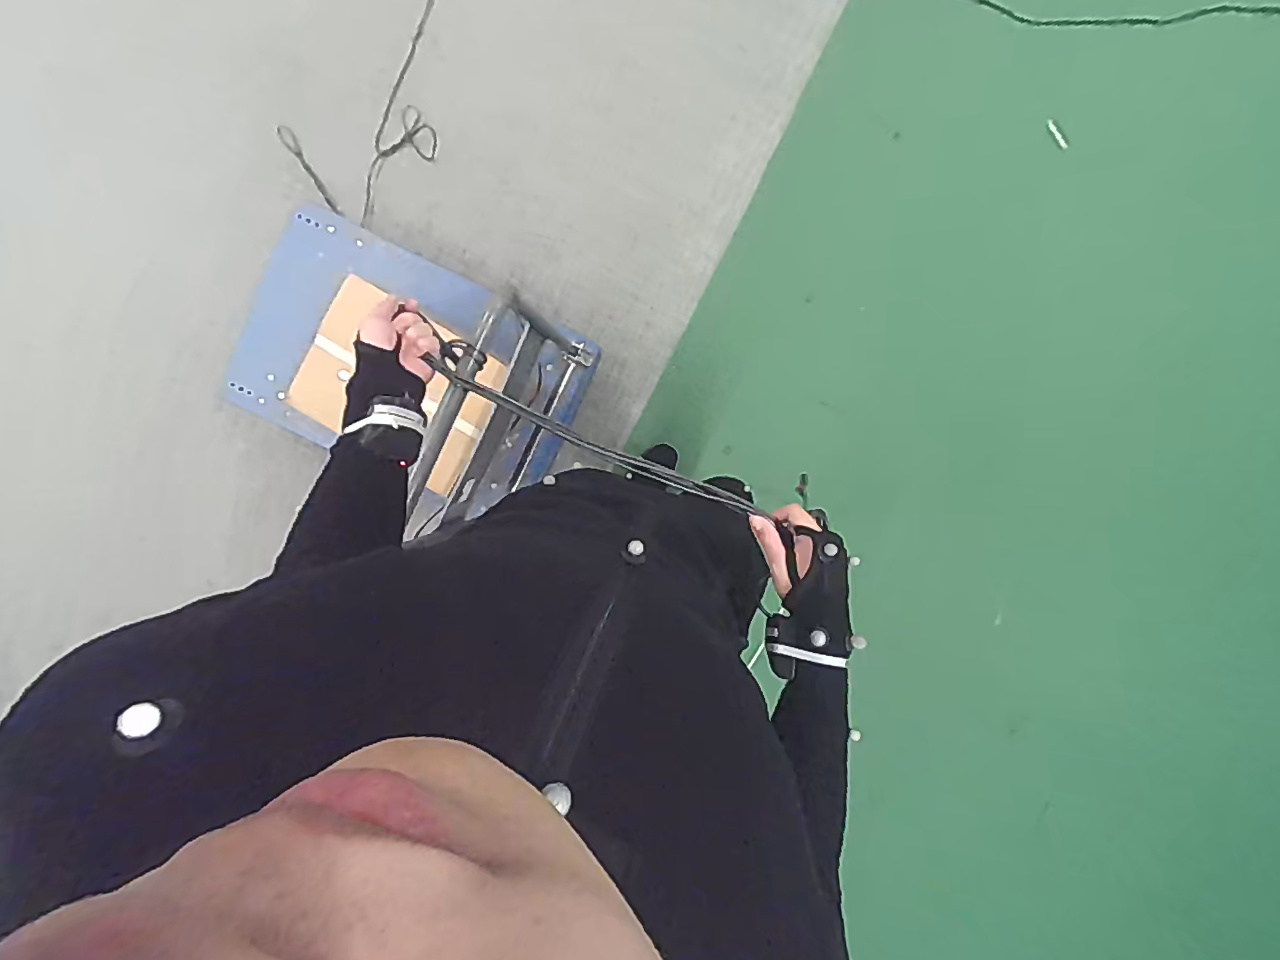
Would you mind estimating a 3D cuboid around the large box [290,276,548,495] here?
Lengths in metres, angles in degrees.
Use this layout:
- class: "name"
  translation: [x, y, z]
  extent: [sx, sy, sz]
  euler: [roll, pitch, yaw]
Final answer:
- class: "large box"
  translation: [-0.486, -0.209, 1.274]
  extent: [0.408, 0.320, 0.320]
  euler: [31, 96, -1]
